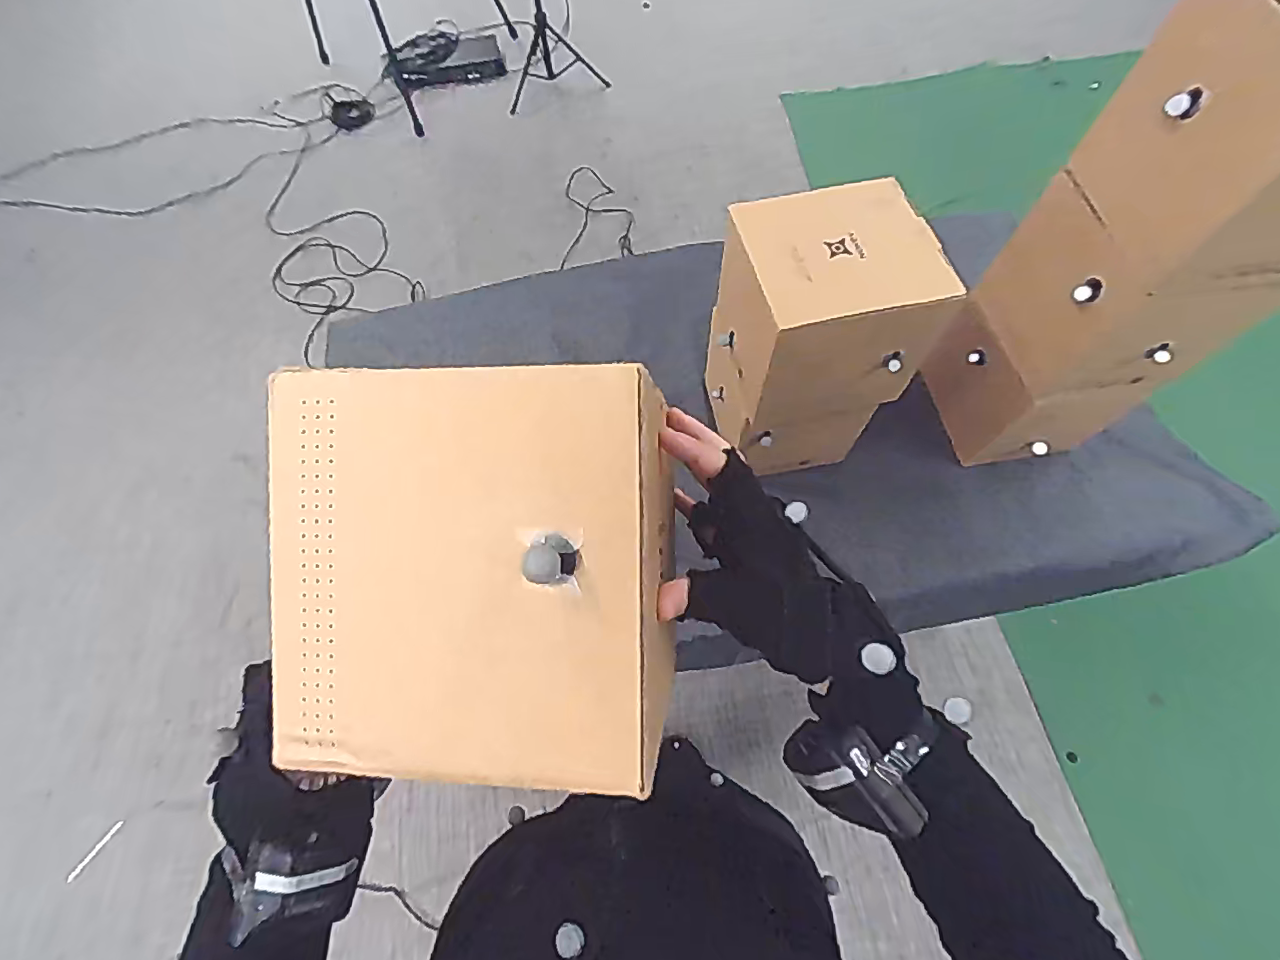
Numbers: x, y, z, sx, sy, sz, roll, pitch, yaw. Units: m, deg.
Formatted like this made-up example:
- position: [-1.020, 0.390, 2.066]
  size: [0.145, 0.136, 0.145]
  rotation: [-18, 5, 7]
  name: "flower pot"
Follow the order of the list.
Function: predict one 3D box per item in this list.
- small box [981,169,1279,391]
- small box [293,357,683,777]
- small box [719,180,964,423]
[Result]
- position: [0.514, -0.209, 0.580]
  size: [0.168, 0.176, 0.179]
  rotation: [-7, 65, 0]
  name: "small box"
- position: [-0.066, 0.037, 0.311]
  size: [0.176, 0.168, 0.179]
  rotation: [-1, 89, 8]
  name: "small box"
- position: [0.194, -0.183, 0.583]
  size: [0.179, 0.176, 0.168]
  rotation: [-11, 64, -3]
  name: "small box"
